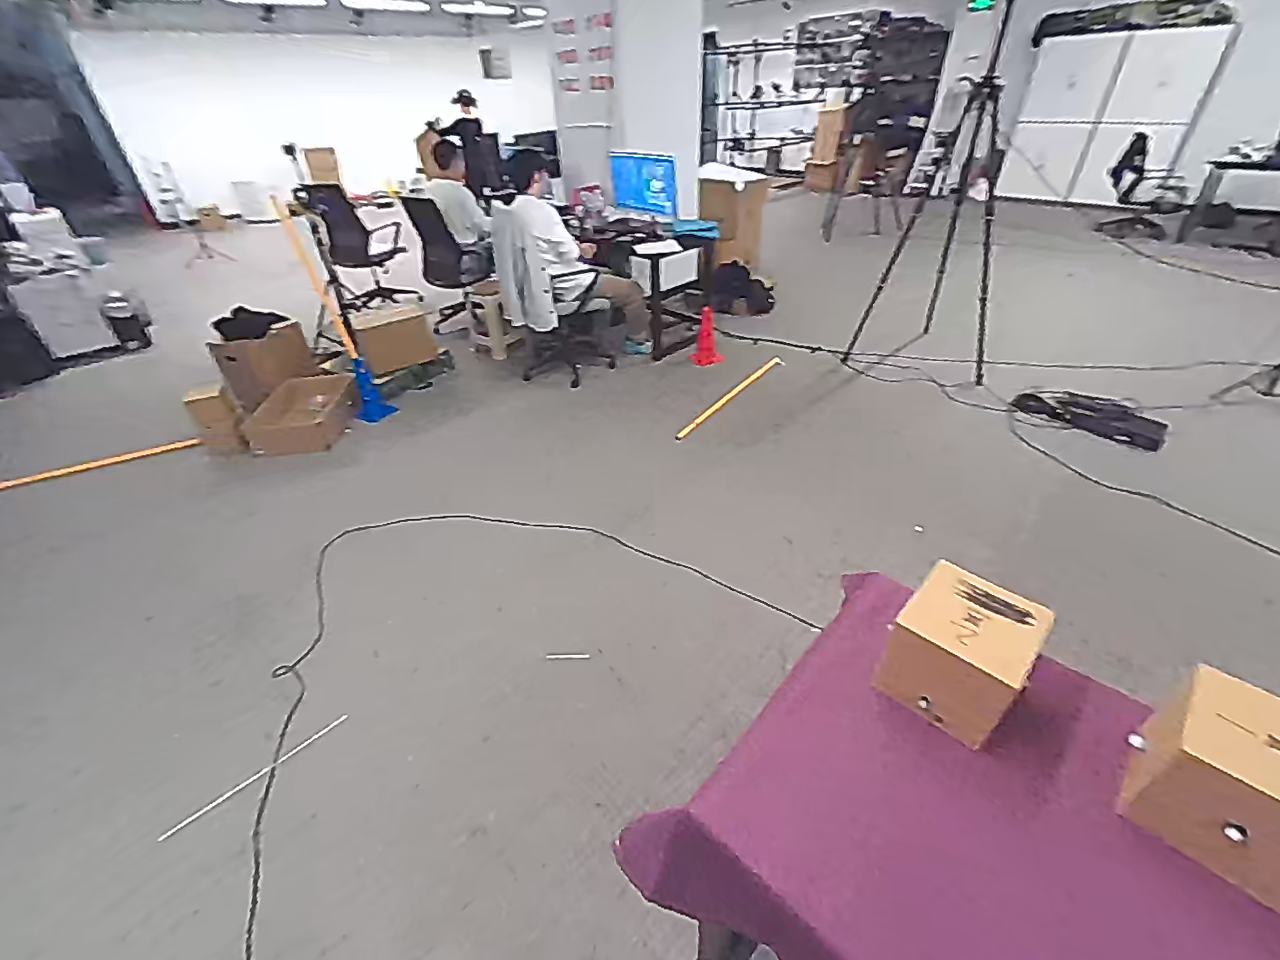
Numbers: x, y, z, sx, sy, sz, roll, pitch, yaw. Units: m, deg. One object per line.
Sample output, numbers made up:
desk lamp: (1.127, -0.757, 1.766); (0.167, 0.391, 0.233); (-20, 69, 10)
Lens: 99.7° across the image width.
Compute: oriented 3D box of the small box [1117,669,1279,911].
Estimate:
small box: (0.746, 0.382, 0.666); (0.168, 0.176, 0.179); (-31, 43, -33)
